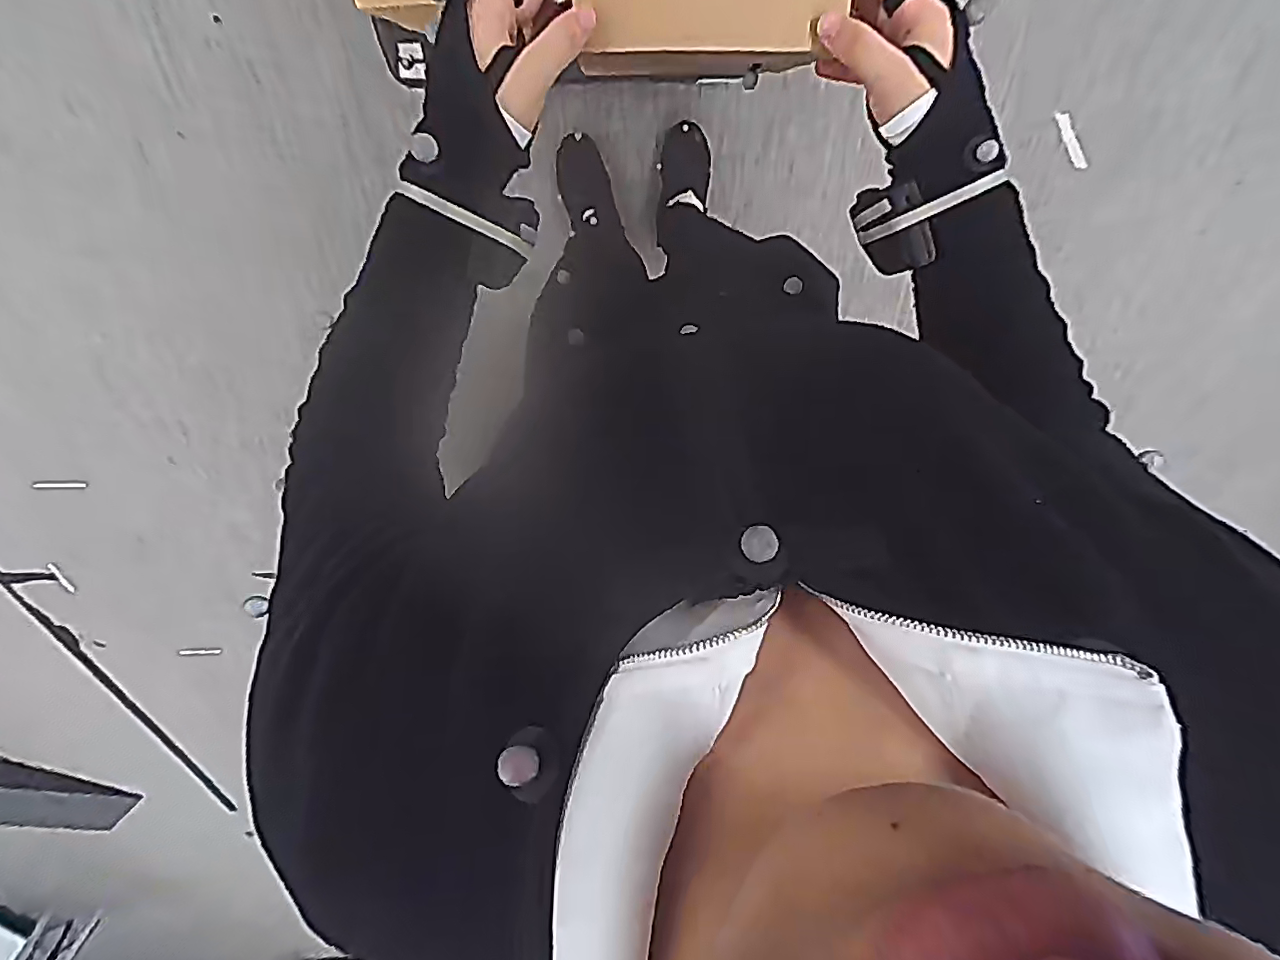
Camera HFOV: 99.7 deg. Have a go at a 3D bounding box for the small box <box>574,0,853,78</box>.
[{"bbox_3d":[0.041,-0.386,0.369,0.179,0.176,0.168,-3,122,-2],"label":"small box"}]

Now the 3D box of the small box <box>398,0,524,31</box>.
[{"bbox_3d":[-0.269,-0.774,0.789,0.168,0.176,0.179,-3,126,-1],"label":"small box"}]

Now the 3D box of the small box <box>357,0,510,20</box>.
[{"bbox_3d":[-0.263,-0.682,0.654,0.168,0.176,0.179,-4,126,-1],"label":"small box"}]
